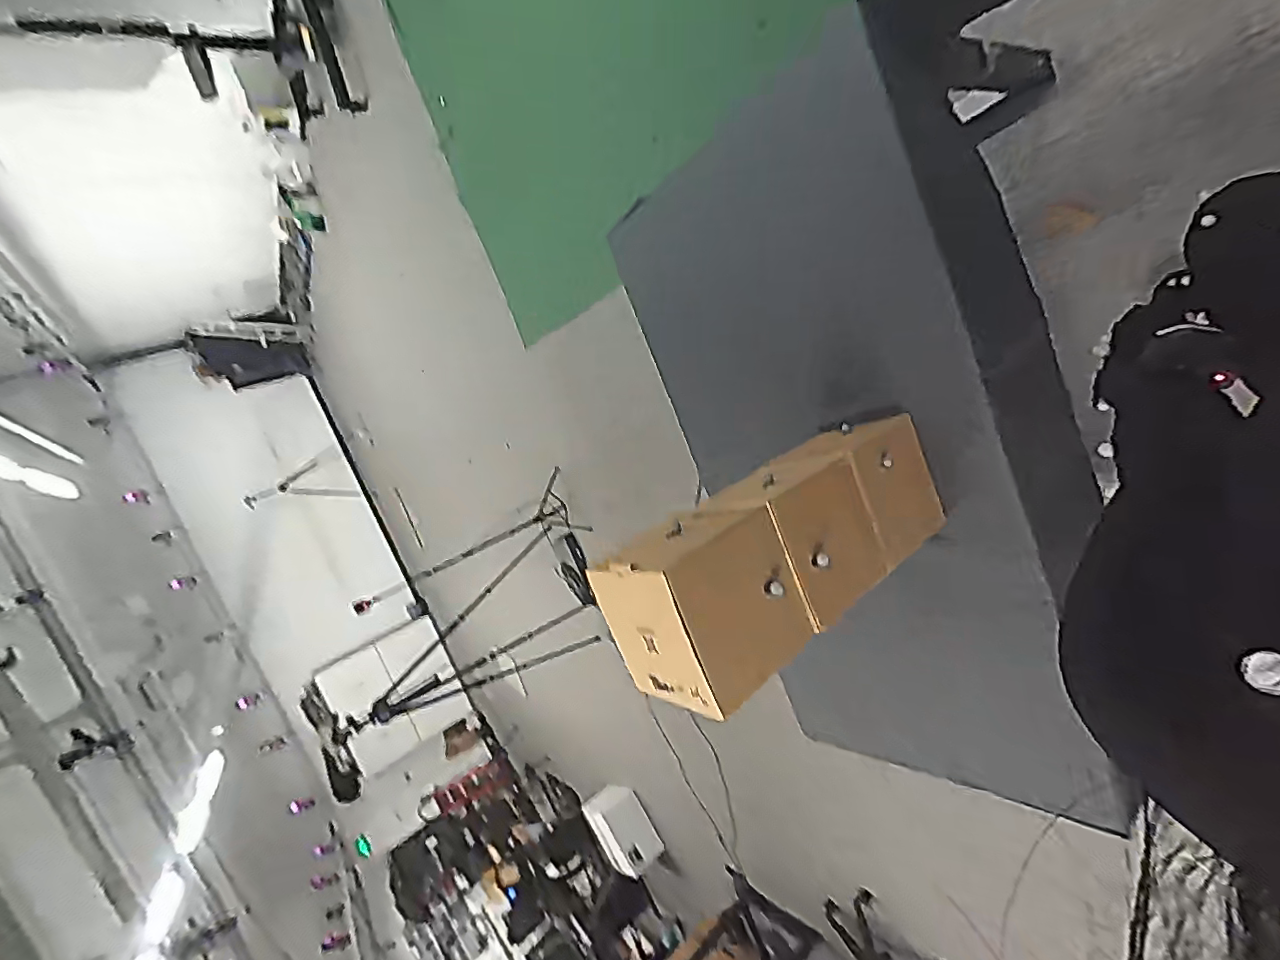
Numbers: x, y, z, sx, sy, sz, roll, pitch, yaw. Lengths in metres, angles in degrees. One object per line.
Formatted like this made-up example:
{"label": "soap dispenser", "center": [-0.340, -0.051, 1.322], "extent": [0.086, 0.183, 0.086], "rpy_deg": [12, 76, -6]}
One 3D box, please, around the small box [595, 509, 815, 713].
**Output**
{"label": "small box", "center": [0.079, 0.141, 0.657], "extent": [0.168, 0.176, 0.179], "rpy_deg": [-11, 102, 56]}

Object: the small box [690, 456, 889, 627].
{"label": "small box", "center": [0.205, 0.077, 0.741], "extent": [0.168, 0.176, 0.179], "rpy_deg": [-14, 100, 57]}
